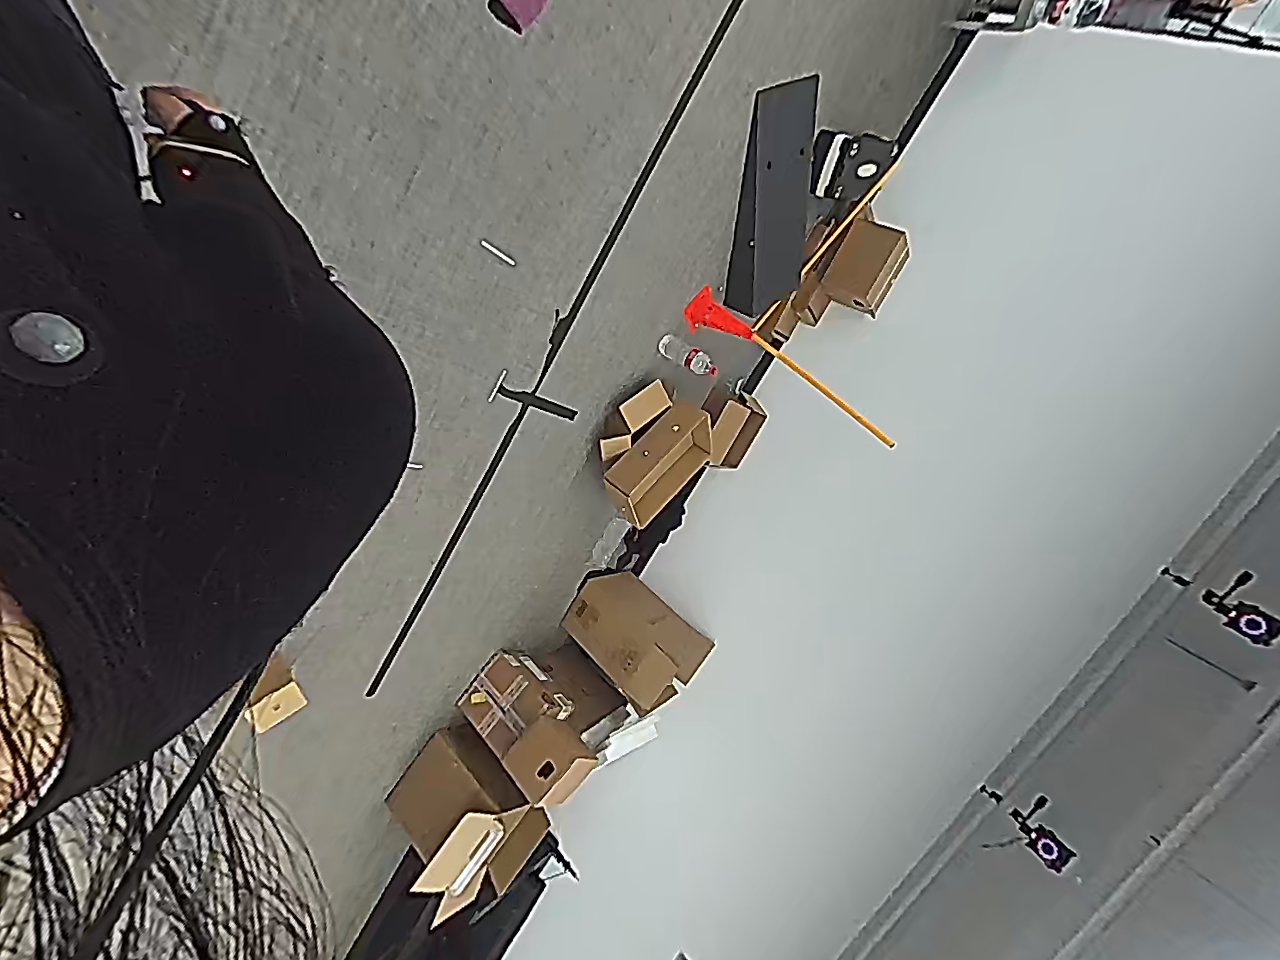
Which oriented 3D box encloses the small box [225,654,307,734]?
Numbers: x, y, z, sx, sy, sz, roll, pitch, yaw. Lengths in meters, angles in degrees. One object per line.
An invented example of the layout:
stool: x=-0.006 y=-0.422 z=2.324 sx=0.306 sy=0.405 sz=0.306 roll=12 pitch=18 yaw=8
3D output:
small box: x=-1.328 y=0.751 z=1.918 sx=0.168 sy=0.176 sz=0.179 roll=-32 pitch=148 yaw=-36
